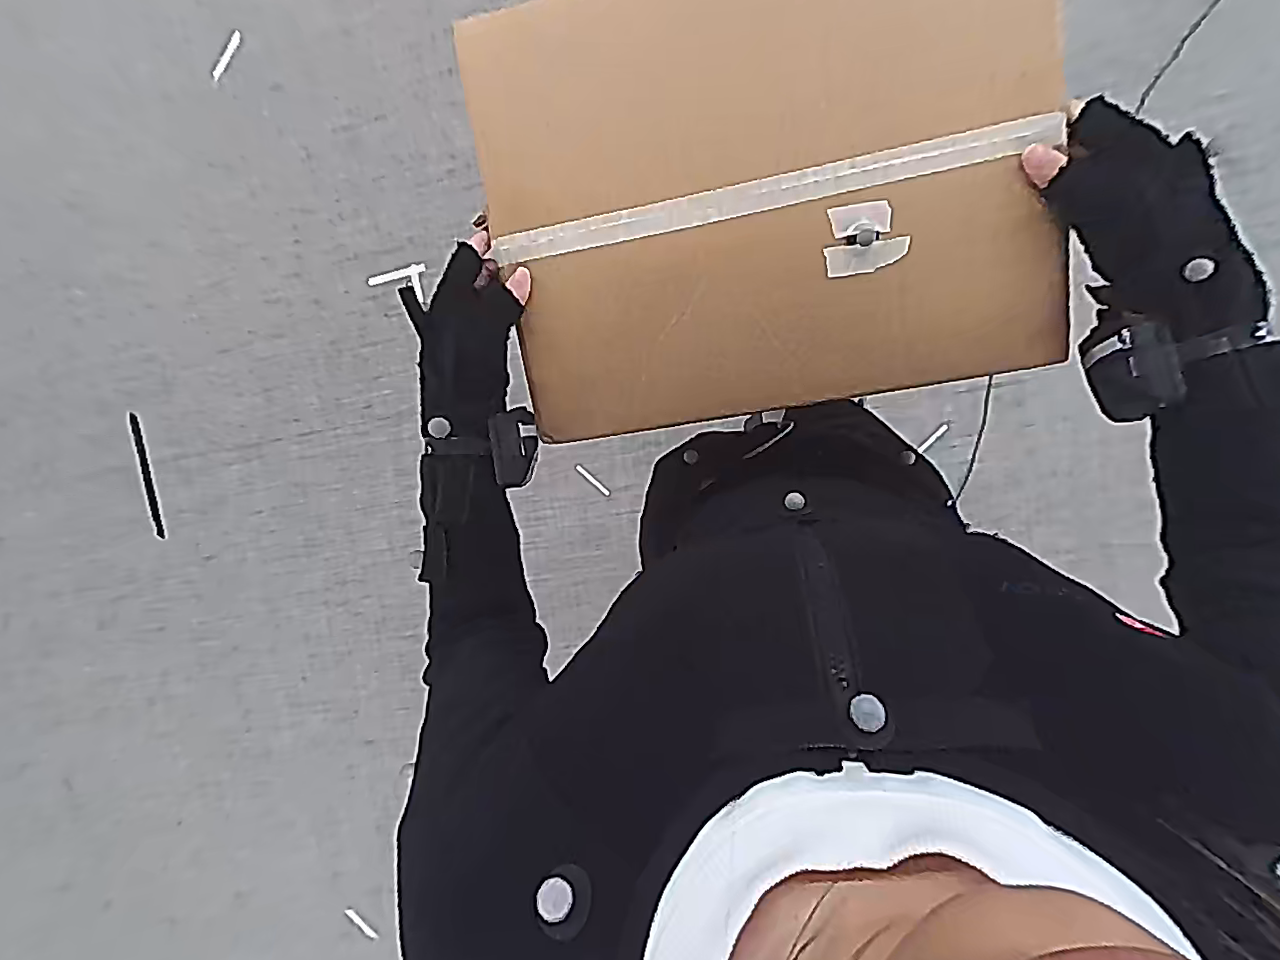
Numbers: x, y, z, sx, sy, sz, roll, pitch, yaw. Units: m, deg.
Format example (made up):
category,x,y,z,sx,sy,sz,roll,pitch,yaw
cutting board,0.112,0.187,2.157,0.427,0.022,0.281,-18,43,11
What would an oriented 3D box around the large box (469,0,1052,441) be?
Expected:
category,x,y,z,sx,sy,sz,roll,pitch,yaw
large box,0.104,-0.243,0.553,0.408,0.320,0.320,-9,102,7
